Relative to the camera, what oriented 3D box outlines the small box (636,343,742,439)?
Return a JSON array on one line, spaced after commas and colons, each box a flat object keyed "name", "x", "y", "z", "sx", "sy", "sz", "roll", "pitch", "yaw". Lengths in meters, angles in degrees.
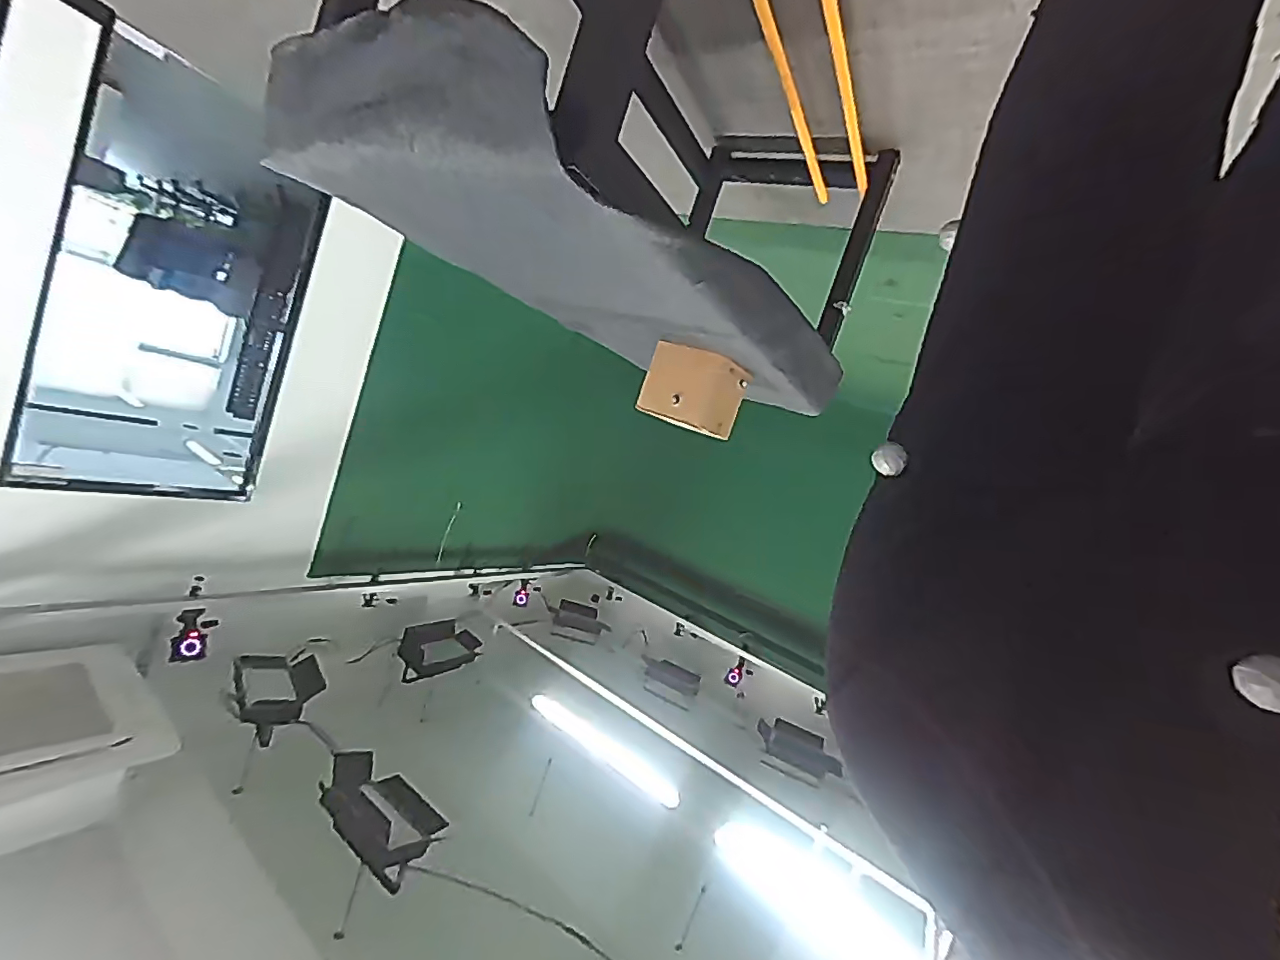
[{"name": "small box", "x": 0.123, "y": -0.211, "z": 1.272, "sx": 0.179, "sy": 0.176, "sz": 0.168, "roll": 23, "pitch": -175, "yaw": 33}]
